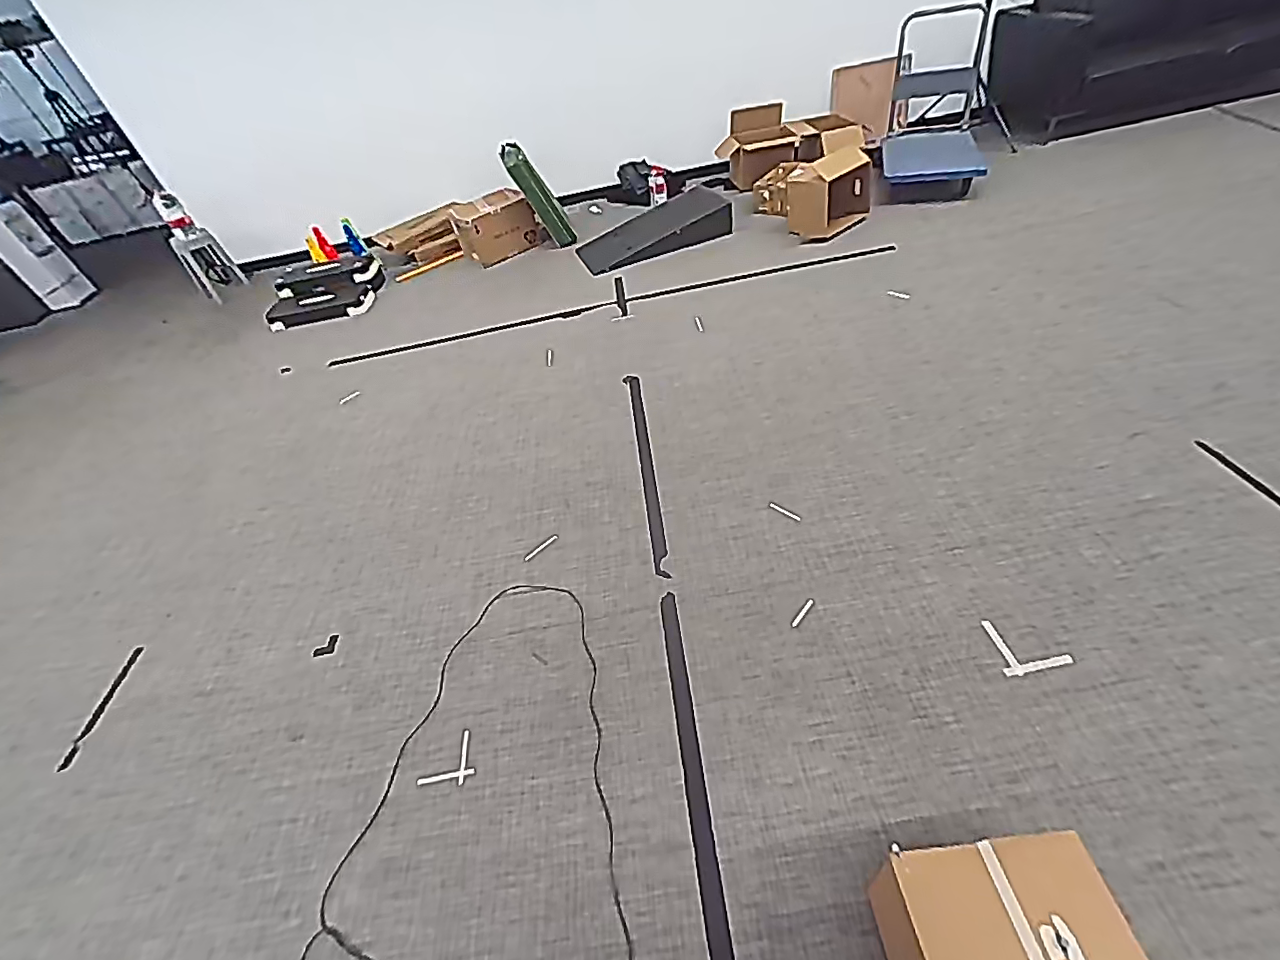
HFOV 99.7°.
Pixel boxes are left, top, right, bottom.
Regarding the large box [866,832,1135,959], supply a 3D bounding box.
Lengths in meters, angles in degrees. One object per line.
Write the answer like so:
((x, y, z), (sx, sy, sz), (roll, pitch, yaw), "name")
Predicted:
((0.615, 0.870, 0.889), (0.320, 0.320, 0.408), (-9, 43, 2), "large box")
